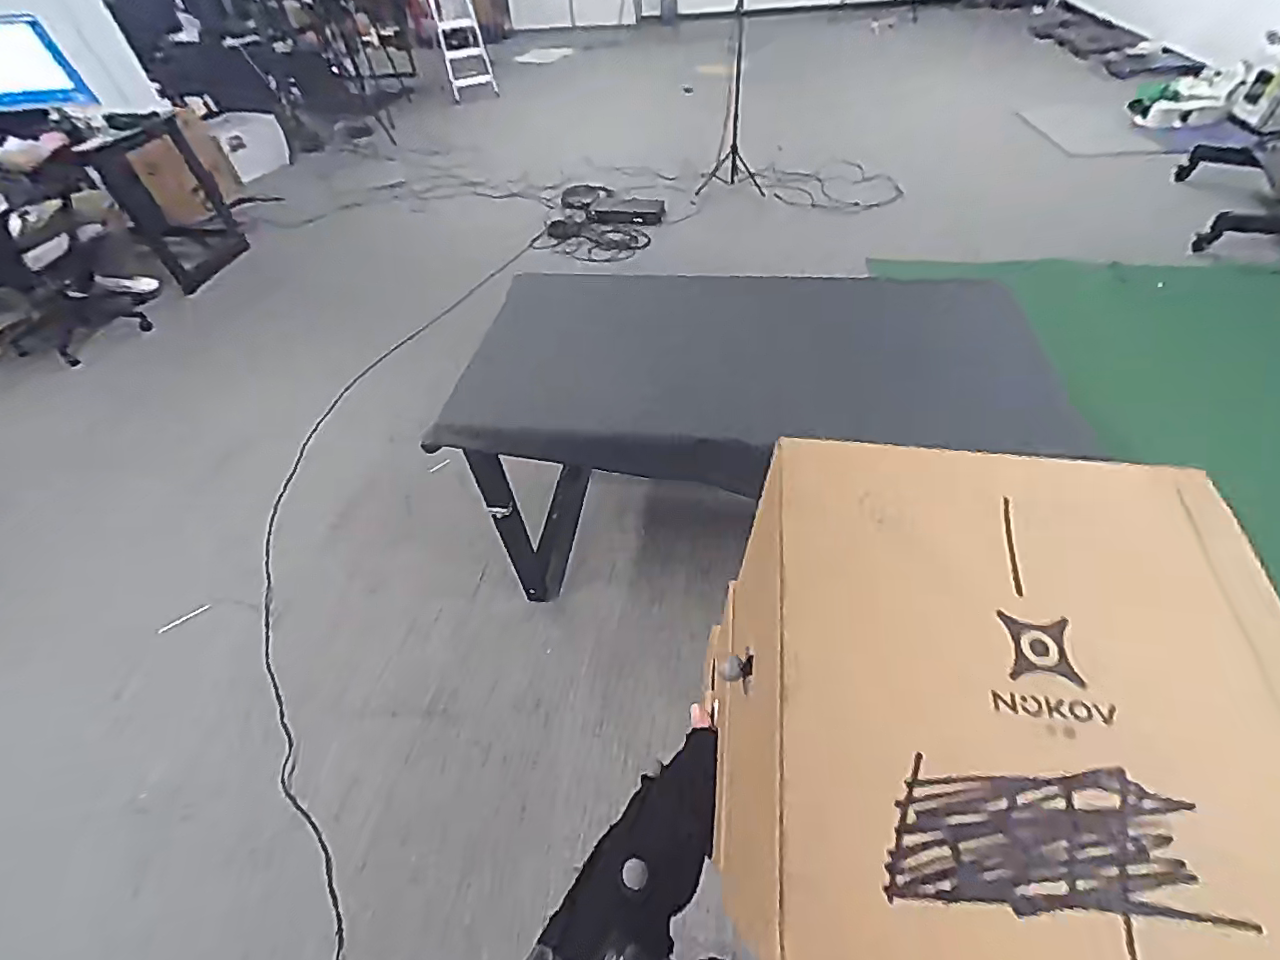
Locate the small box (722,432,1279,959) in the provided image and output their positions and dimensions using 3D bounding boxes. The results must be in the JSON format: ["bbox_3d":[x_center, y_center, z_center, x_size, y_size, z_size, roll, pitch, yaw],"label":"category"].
[{"bbox_3d":[0.130,0.101,0.254,0.168,0.176,0.179,6,57,6],"label":"small box"}]
